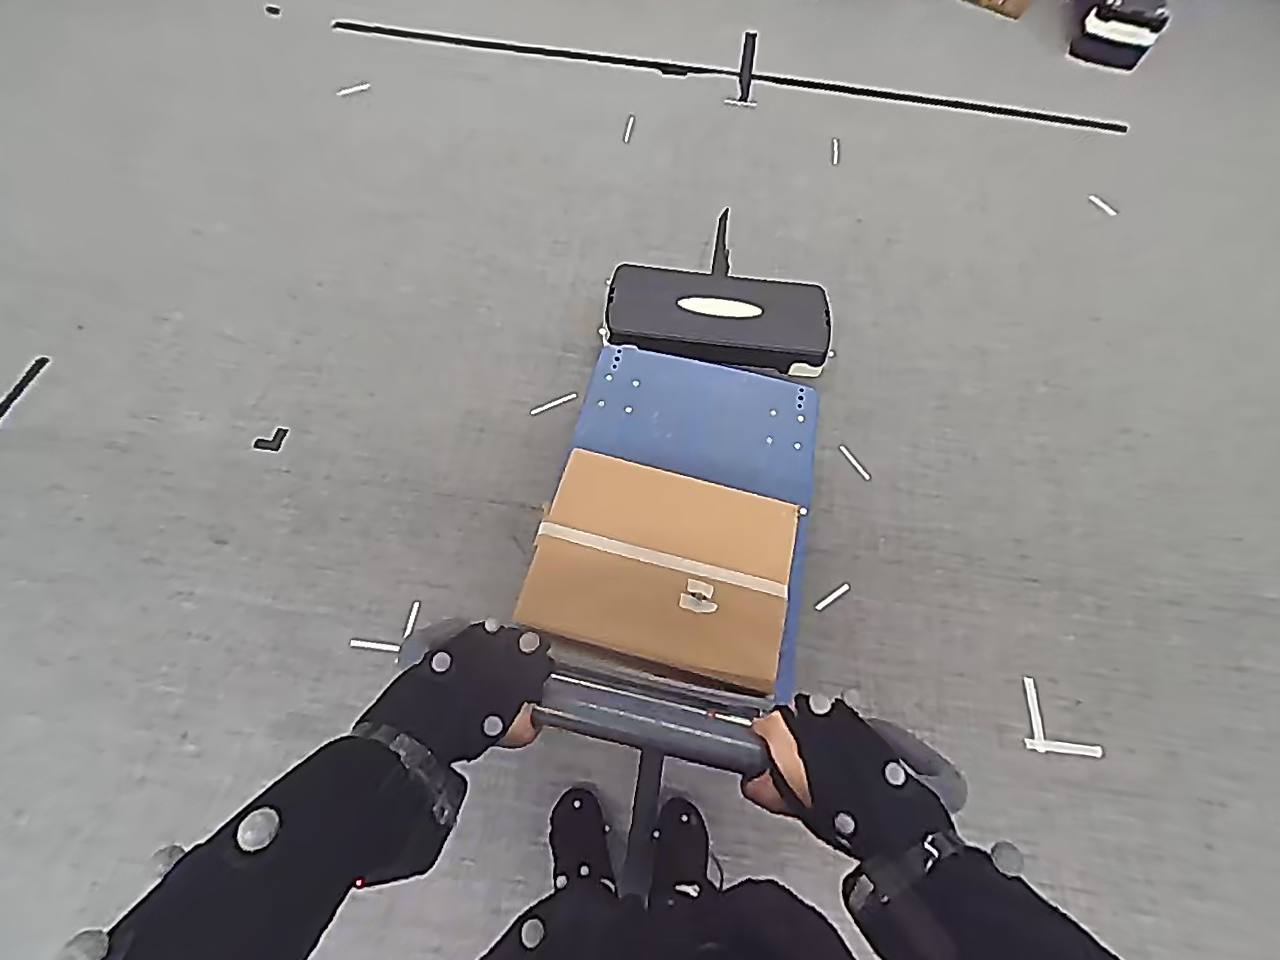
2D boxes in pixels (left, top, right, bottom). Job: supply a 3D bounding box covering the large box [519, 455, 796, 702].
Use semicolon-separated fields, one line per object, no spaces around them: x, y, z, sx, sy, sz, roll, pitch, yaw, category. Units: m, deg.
0.030;0.197;1.004;0.408;0.320;0.320;15;65;3;large box
